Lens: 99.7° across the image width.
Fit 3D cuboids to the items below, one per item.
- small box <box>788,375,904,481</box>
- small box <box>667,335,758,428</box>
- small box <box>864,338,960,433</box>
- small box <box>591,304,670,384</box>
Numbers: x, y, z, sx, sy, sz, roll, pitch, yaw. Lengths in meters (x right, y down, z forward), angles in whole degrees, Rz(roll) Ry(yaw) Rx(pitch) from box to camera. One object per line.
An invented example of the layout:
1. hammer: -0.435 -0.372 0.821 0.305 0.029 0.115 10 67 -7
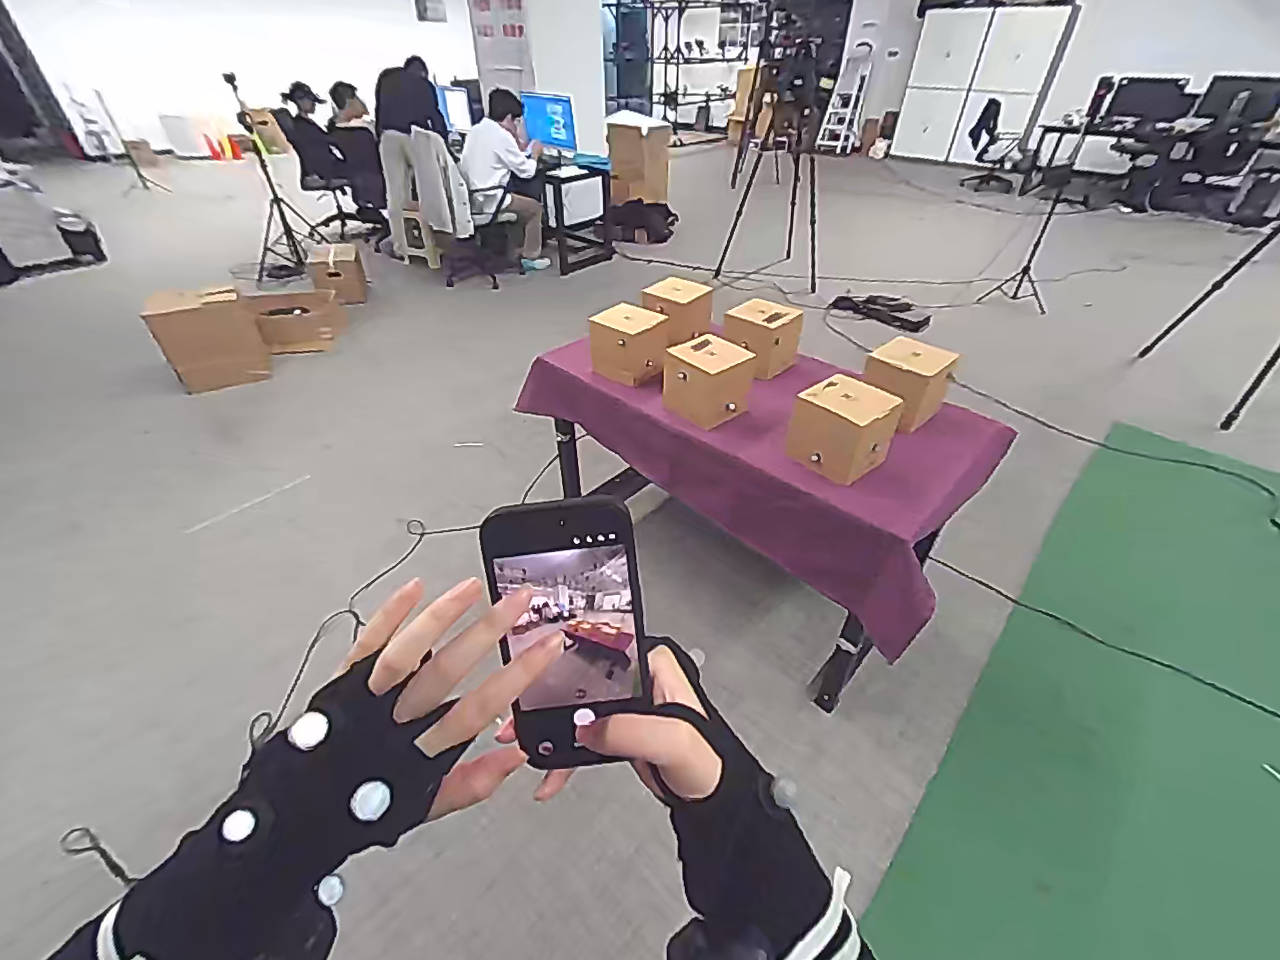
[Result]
1. small box: 0.475 -0.117 1.270 0.168 0.176 0.179 -27 46 -30
2. small box: 0.186 -0.265 1.449 0.168 0.176 0.179 -28 48 -30
3. small box: 0.705 -0.252 1.436 0.179 0.176 0.168 -30 48 -31
4. small box: -0.030 -0.408 1.626 0.179 0.176 0.168 27 46 28
